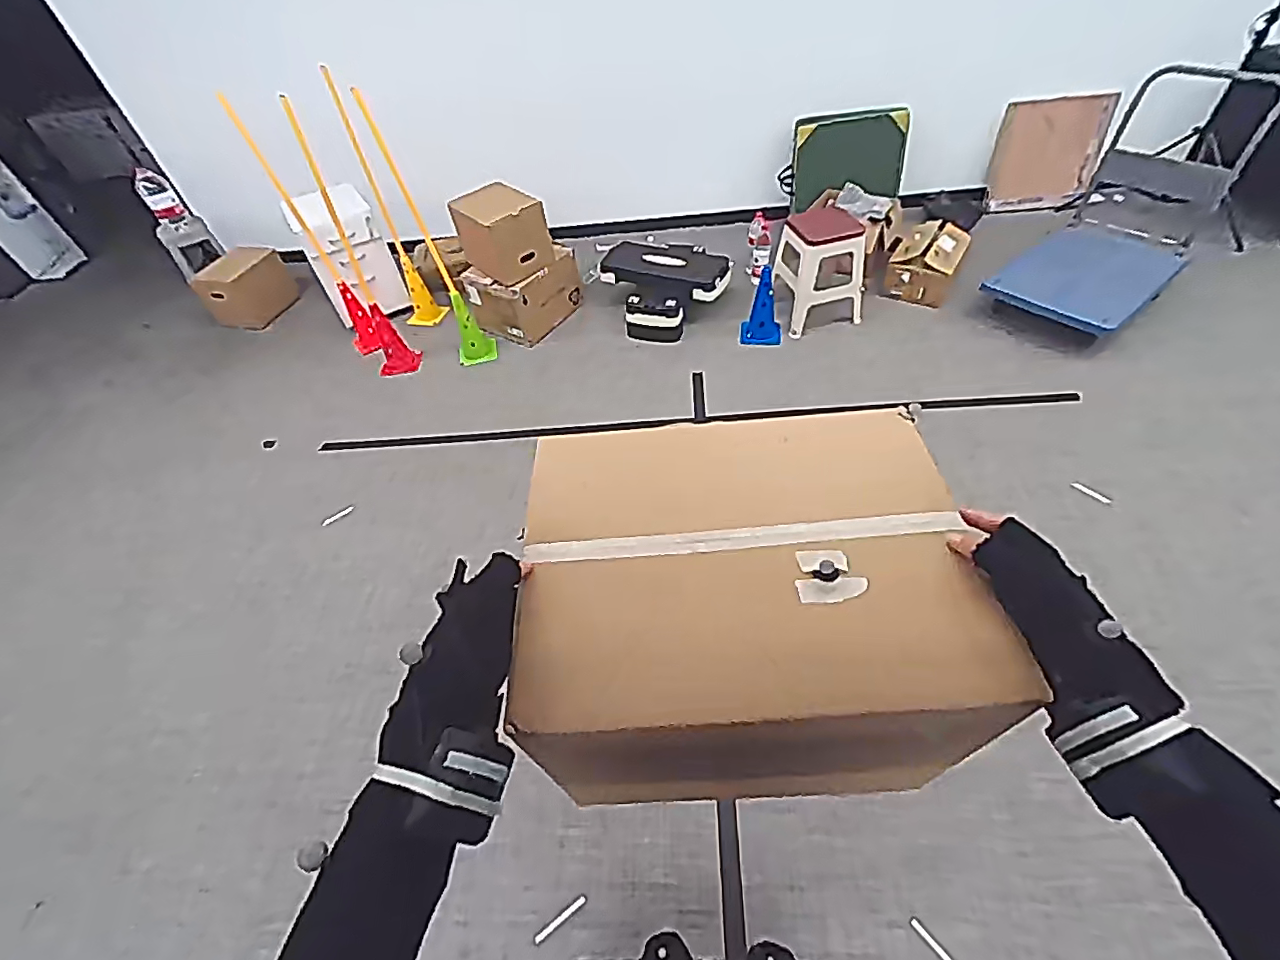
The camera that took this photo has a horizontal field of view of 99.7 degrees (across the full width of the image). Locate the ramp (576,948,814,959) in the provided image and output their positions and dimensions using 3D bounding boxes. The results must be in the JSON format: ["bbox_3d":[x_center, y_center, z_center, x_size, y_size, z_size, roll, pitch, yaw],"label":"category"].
[{"bbox_3d":[0.119,1.395,0.861,0.509,0.206,0.991,-4,49,2],"label":"ramp"}]

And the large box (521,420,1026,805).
[{"bbox_3d":[0.105,0.161,0.627,0.408,0.320,0.320,-4,50,2],"label":"large box"}]
